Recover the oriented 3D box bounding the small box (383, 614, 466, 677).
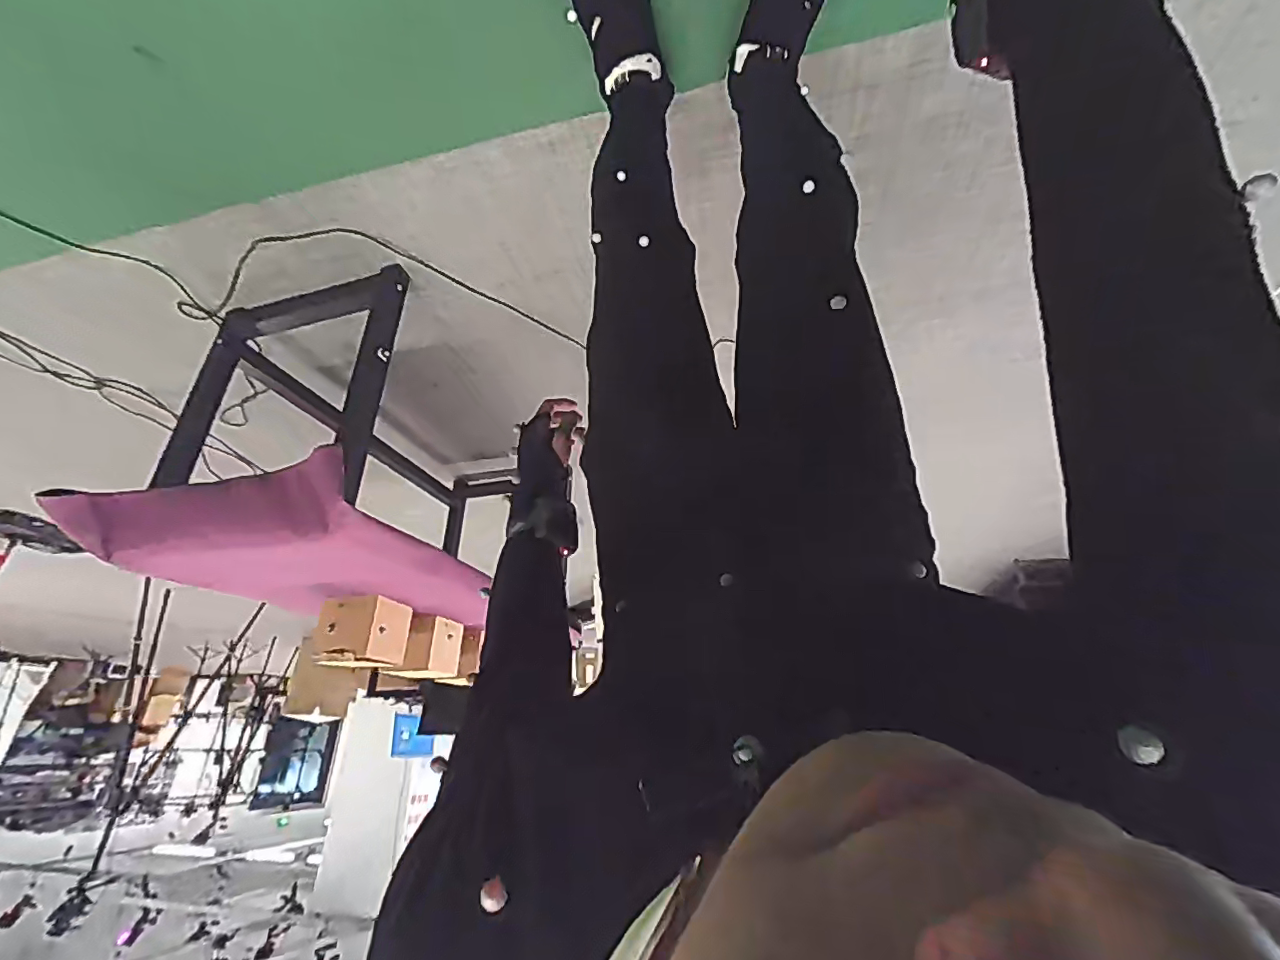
[{"bbox_3d":[-0.686,0.534,1.740,0.179,0.176,0.168,-6,154,12],"label":"small box"}]

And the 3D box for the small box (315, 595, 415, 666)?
[{"bbox_3d":[-0.757,0.419,1.506,0.168,0.176,0.179,-4,154,9],"label":"small box"}]

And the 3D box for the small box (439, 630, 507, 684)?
[{"bbox_3d":[-0.600,0.639,1.957,0.168,0.176,0.179,-6,154,13],"label":"small box"}]
